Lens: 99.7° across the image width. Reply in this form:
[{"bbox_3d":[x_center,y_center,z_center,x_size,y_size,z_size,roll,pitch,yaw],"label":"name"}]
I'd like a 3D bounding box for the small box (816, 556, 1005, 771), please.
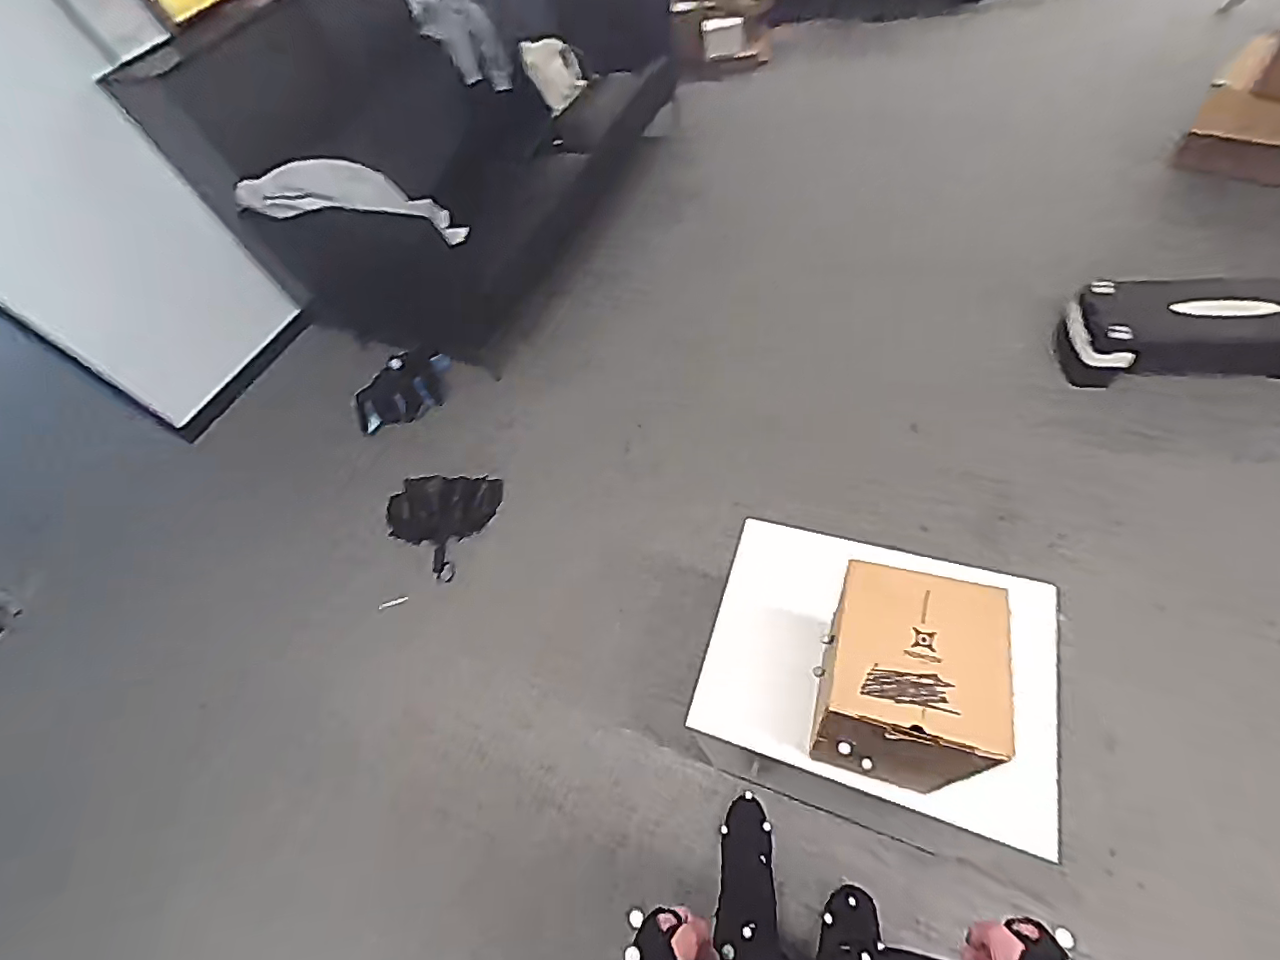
[{"bbox_3d":[0.306,0.217,0.633,0.168,0.176,0.179,10,57,19],"label":"small box"}]

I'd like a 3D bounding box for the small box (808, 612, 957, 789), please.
[{"bbox_3d":[0.335,0.311,0.765,0.168,0.176,0.179,9,57,19],"label":"small box"}]
